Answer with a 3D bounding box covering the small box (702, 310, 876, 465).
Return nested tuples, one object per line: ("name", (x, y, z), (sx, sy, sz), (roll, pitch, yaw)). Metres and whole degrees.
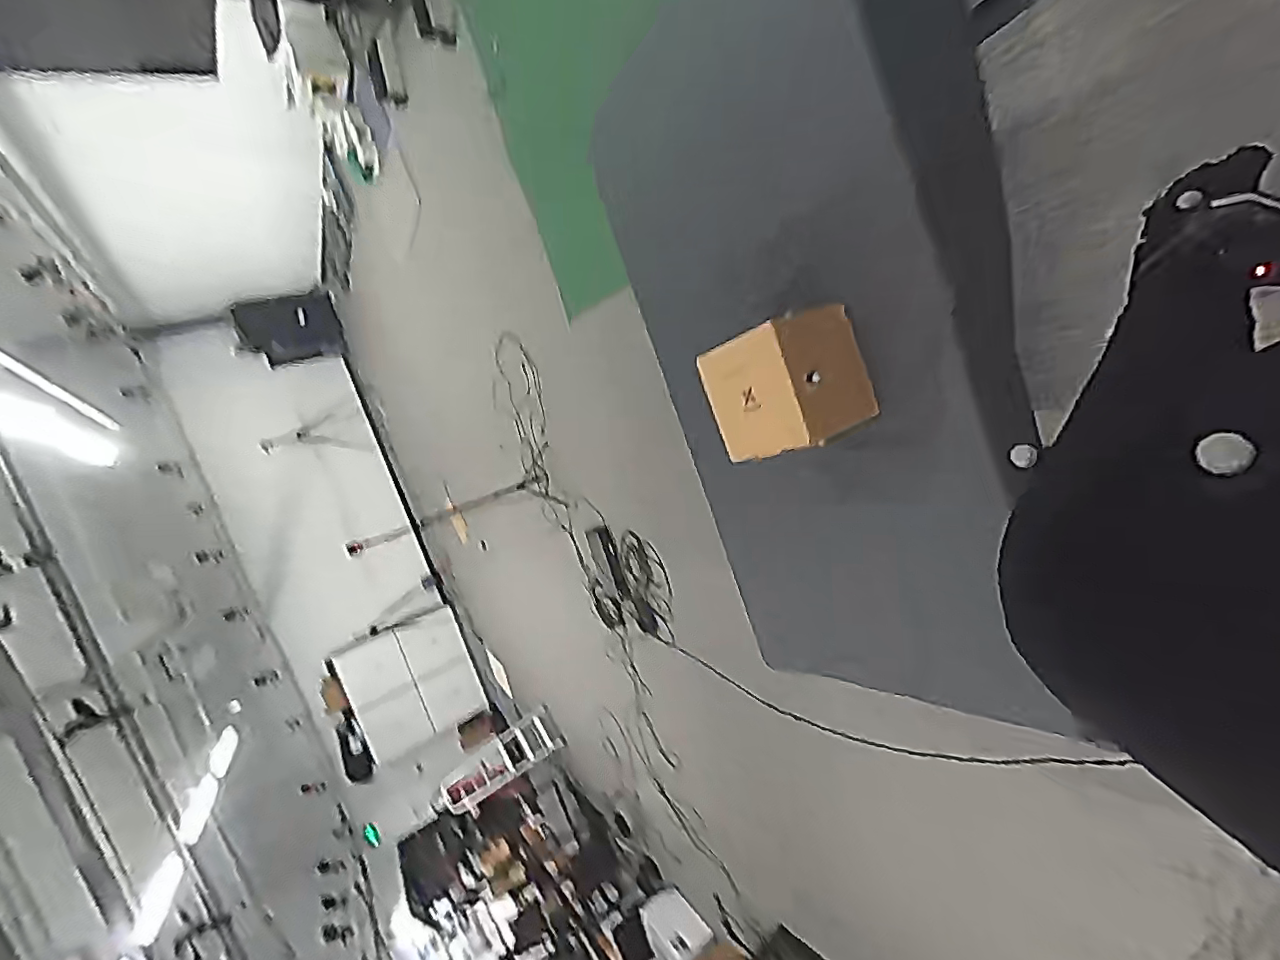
("small box", (0.231, -0.141, 0.836), (0.168, 0.176, 0.179), (-15, 95, 59))
